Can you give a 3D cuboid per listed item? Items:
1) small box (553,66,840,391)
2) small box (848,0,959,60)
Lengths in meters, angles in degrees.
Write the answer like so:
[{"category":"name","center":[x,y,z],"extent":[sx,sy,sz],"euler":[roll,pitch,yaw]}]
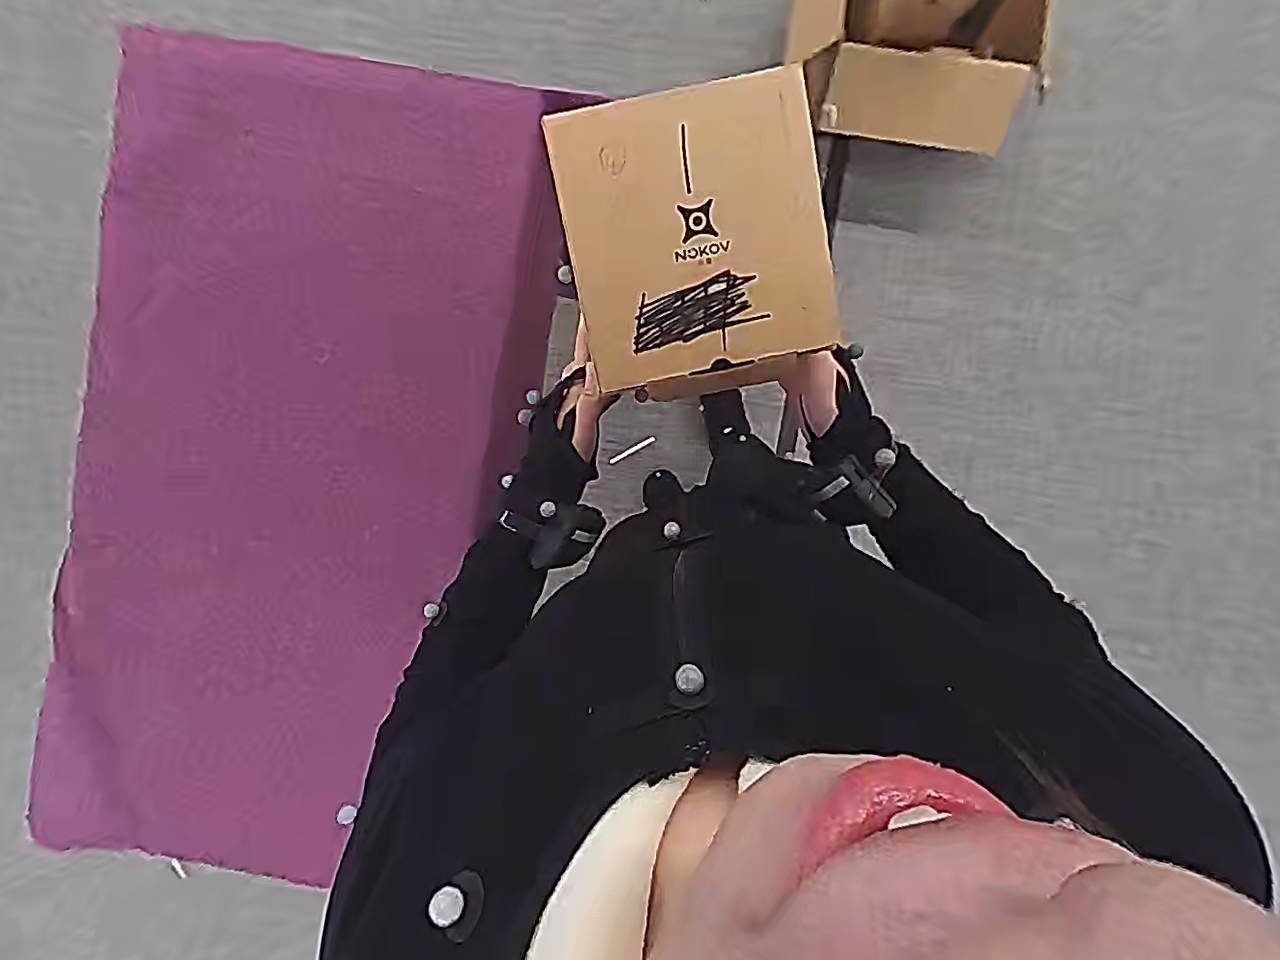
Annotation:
[{"category":"small box","center":[0.038,-0.171,0.426],"extent":[0.168,0.176,0.179],"euler":[-11,99,0]},{"category":"small box","center":[0.556,-1.035,1.140],"extent":[0.179,0.176,0.168],"euler":[-13,97,0]}]
